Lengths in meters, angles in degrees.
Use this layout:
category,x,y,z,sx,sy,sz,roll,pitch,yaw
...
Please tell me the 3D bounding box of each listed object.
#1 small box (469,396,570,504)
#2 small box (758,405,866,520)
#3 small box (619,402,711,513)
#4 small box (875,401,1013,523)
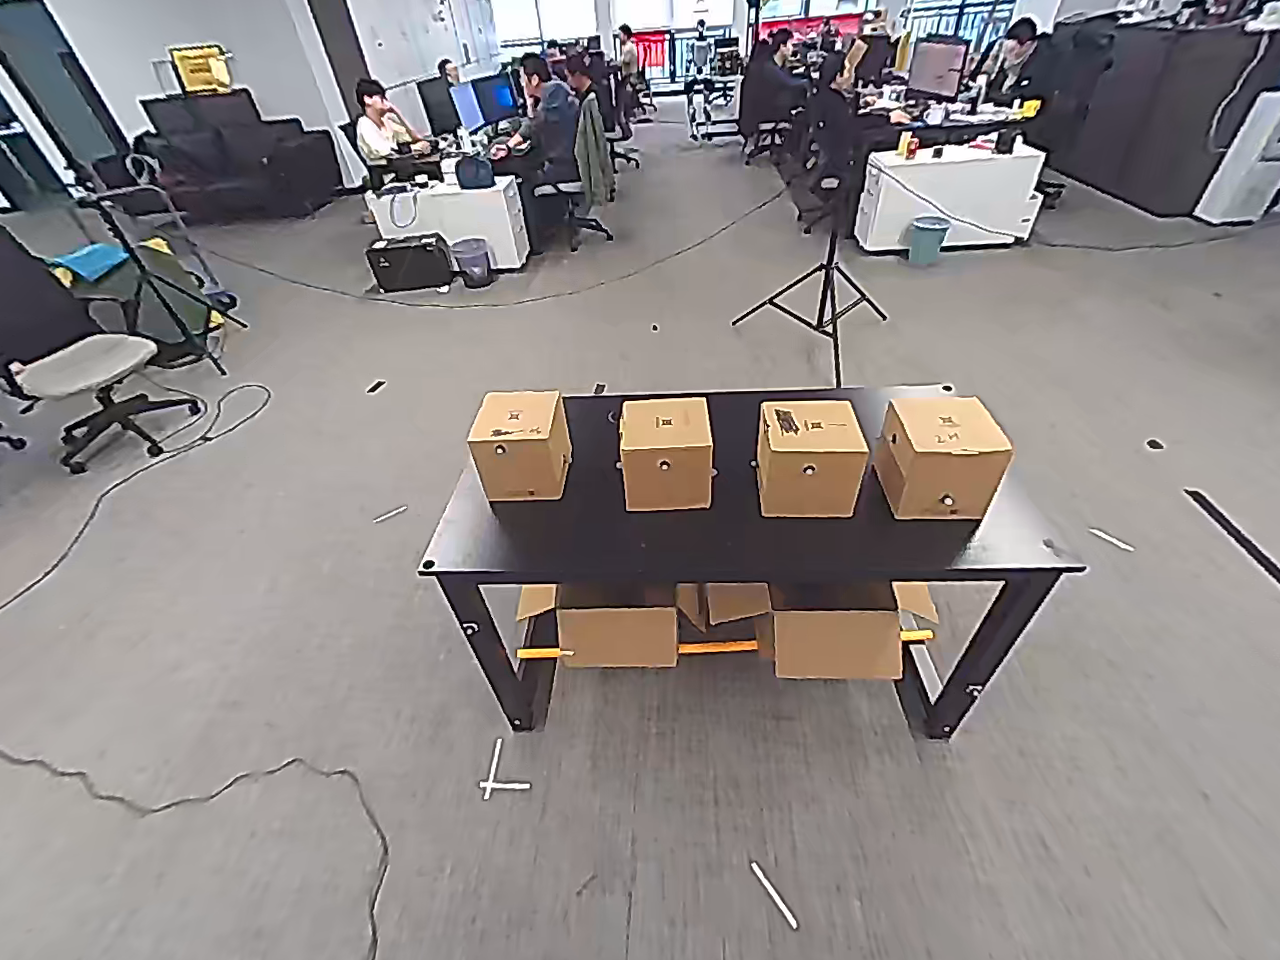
category,x,y,z,sx,sy,sz,roll,pitch,yaw
small box,-0.252,-0.066,1.177,0.168,0.176,0.179,-1,41,4
small box,0.330,-0.034,1.077,0.179,0.176,0.168,1,41,7
small box,0.054,-0.044,1.123,0.179,0.176,0.168,-2,42,2
small box,0.574,-0.036,1.052,0.168,0.176,0.179,-1,41,7
